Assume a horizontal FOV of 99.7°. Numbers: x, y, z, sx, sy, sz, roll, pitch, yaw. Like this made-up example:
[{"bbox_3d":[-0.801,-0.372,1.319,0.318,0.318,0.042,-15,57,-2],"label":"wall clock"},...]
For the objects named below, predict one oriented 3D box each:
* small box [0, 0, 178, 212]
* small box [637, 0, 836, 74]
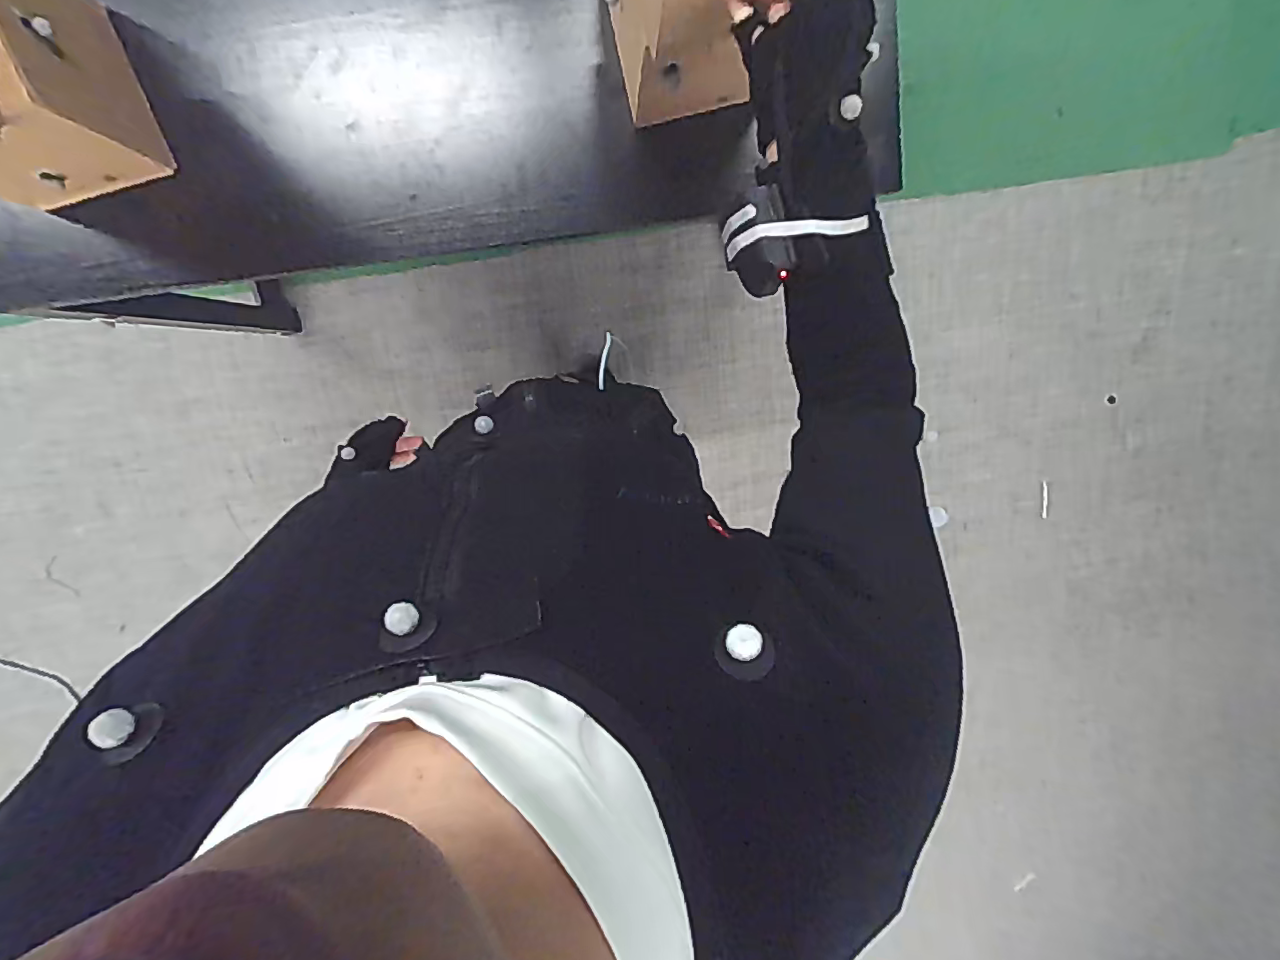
[{"bbox_3d":[-0.629,-0.396,0.535,0.168,0.176,0.179,-17,104,-1],"label":"small box"},{"bbox_3d":[0.072,-0.459,0.401,0.168,0.176,0.179,-18,101,0],"label":"small box"}]
